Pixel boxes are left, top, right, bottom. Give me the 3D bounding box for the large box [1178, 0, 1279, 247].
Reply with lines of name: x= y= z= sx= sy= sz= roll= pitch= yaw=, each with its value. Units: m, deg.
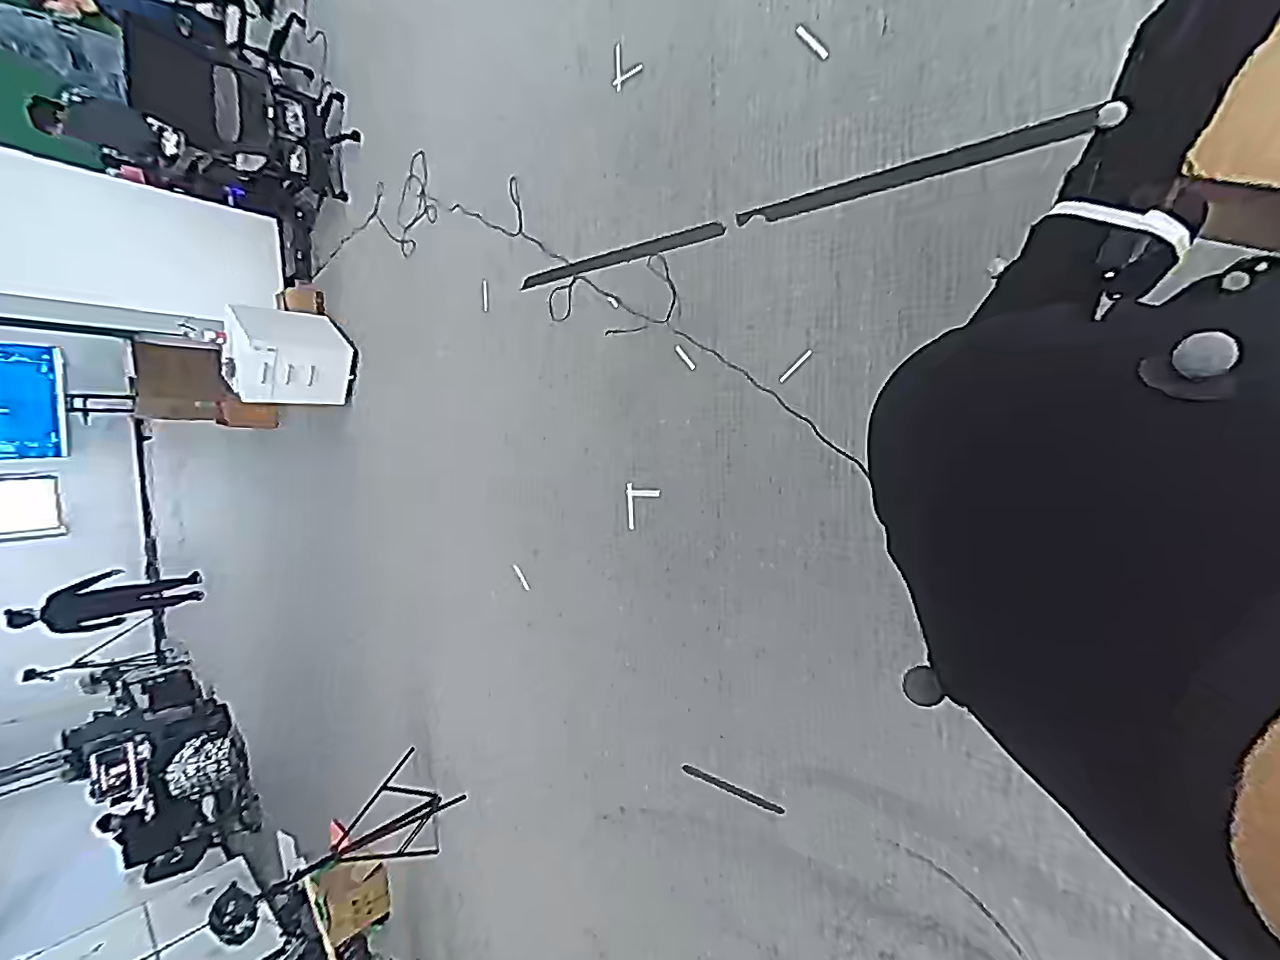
large box: x=0.669 y=-0.299 z=0.329 sx=0.408 sy=0.320 sz=0.320 roll=35 pitch=124 yaw=34
